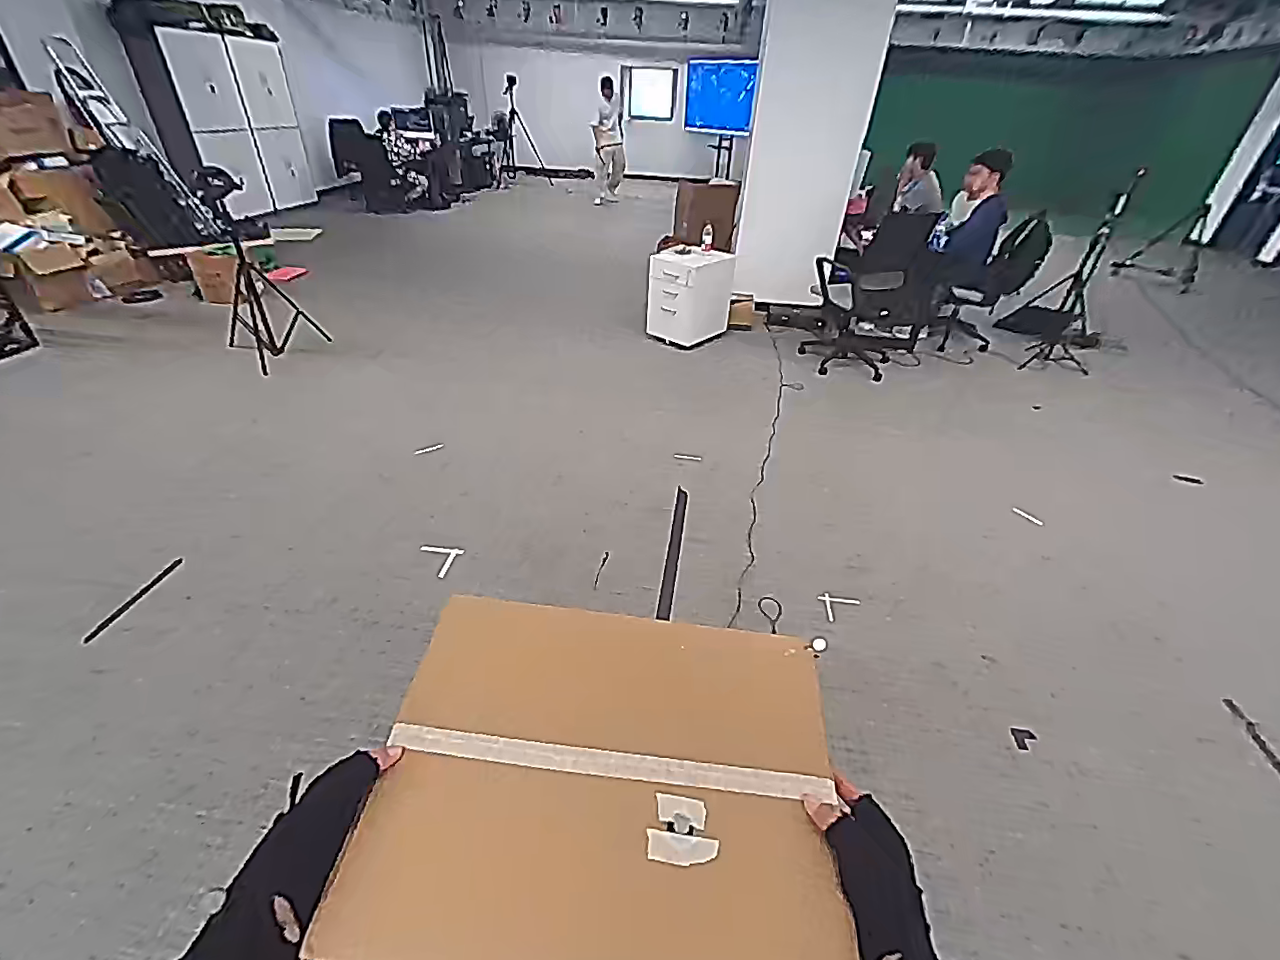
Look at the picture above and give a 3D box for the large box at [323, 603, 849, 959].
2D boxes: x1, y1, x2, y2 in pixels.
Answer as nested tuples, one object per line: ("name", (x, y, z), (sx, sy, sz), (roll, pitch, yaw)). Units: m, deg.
("large box", (-0.037, 0.373, 0.603), (0.408, 0.320, 0.320), (7, 44, 2))
